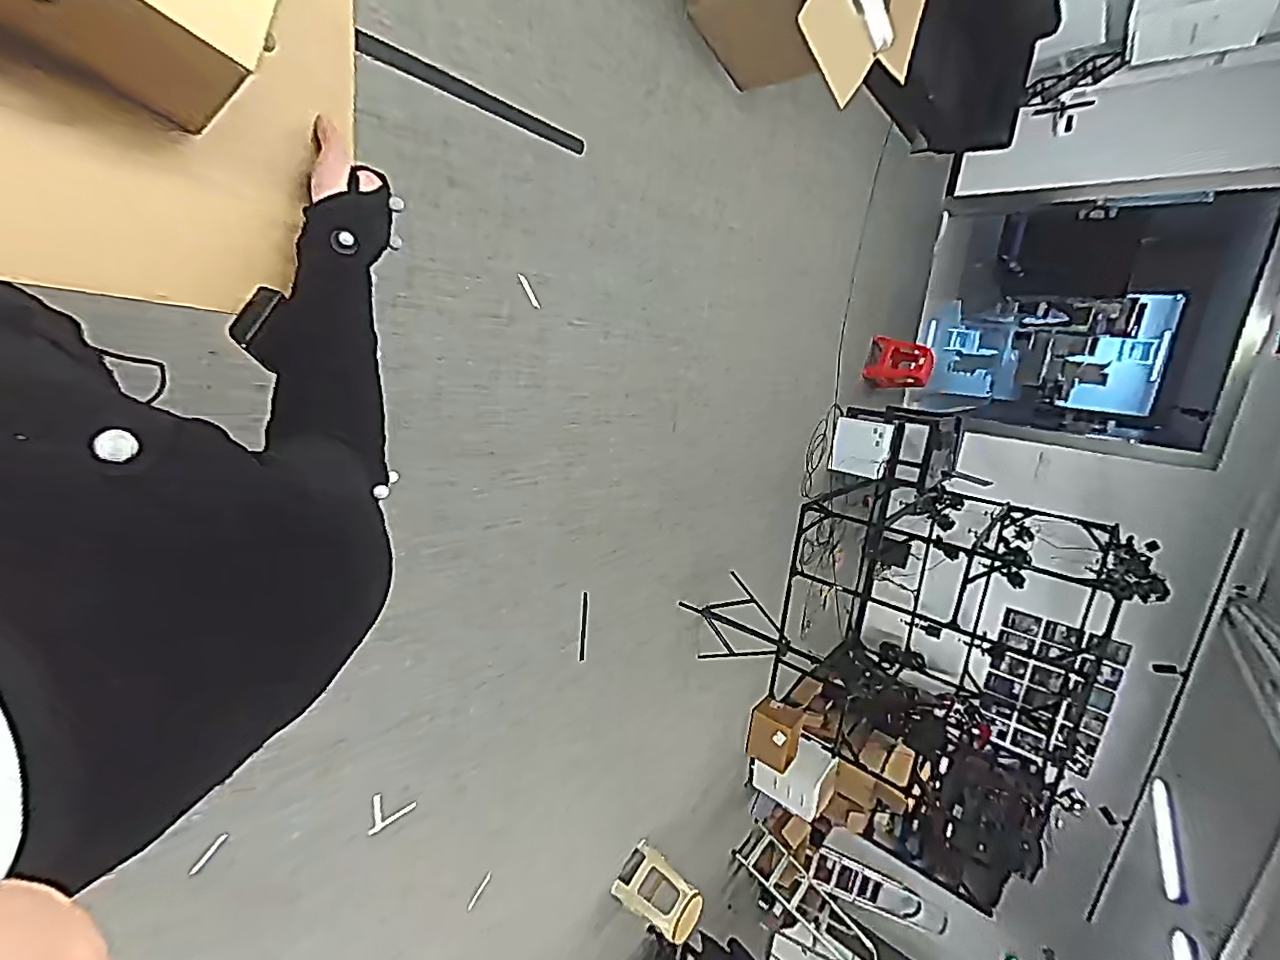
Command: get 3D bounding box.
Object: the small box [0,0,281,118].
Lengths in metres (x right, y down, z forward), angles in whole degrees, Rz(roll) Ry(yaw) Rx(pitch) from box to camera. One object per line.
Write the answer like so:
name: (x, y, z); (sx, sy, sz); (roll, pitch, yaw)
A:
small box: (-0.350, -0.376, 0.353); (0.179, 0.176, 0.168); (17, 87, -49)
